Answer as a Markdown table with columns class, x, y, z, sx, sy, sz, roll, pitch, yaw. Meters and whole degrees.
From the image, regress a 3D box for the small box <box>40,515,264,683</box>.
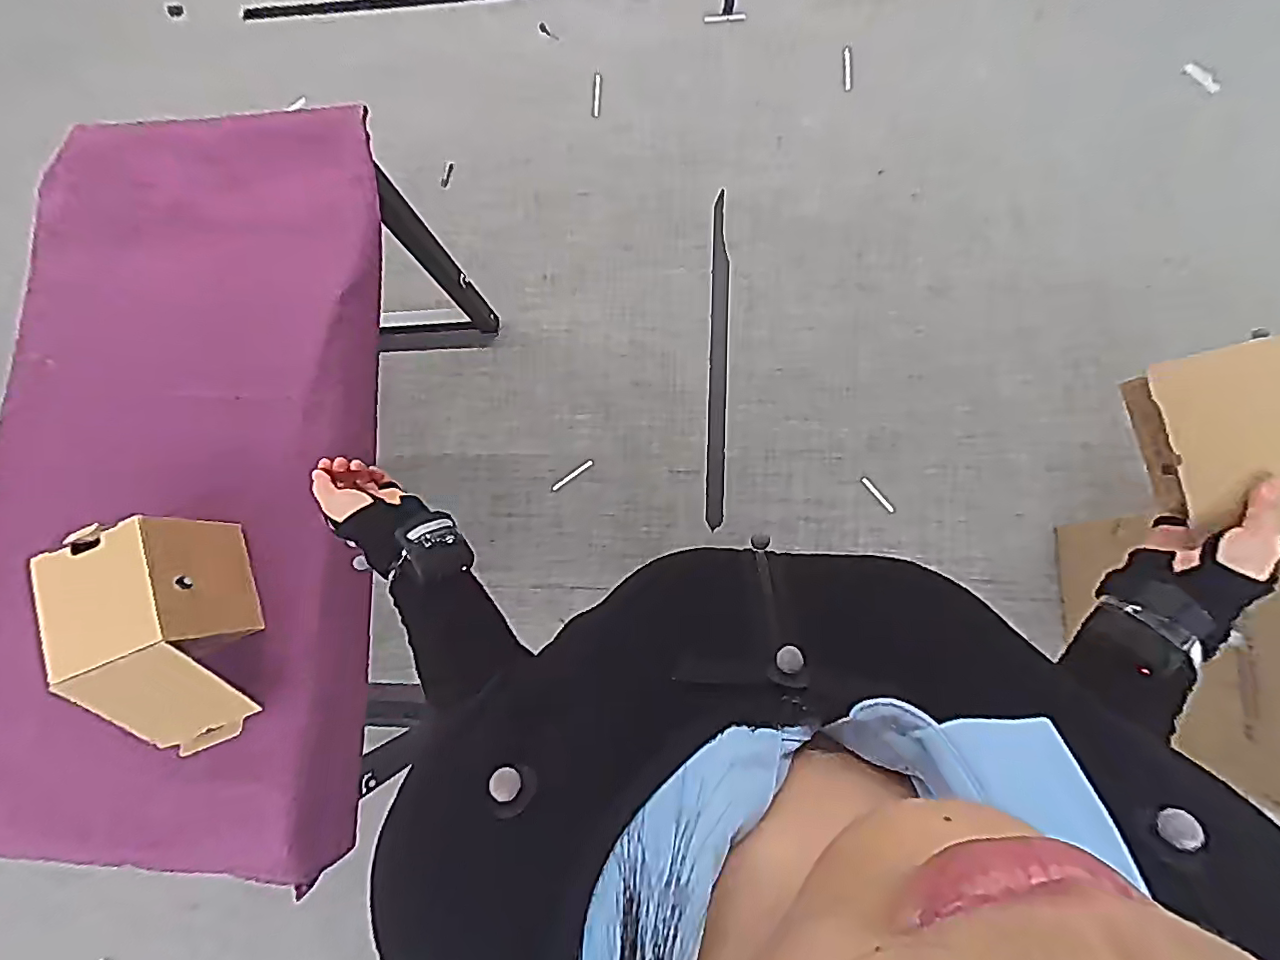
| class | x | y | z | sx | sy | sz | roll | pitch | yaw |
| --- | --- | --- | --- | --- | --- | --- | --- | --- | --- |
| small box | -0.689 | 0.166 | 0.782 | 0.168 | 0.176 | 0.179 | -22 | 78 | 2 |
